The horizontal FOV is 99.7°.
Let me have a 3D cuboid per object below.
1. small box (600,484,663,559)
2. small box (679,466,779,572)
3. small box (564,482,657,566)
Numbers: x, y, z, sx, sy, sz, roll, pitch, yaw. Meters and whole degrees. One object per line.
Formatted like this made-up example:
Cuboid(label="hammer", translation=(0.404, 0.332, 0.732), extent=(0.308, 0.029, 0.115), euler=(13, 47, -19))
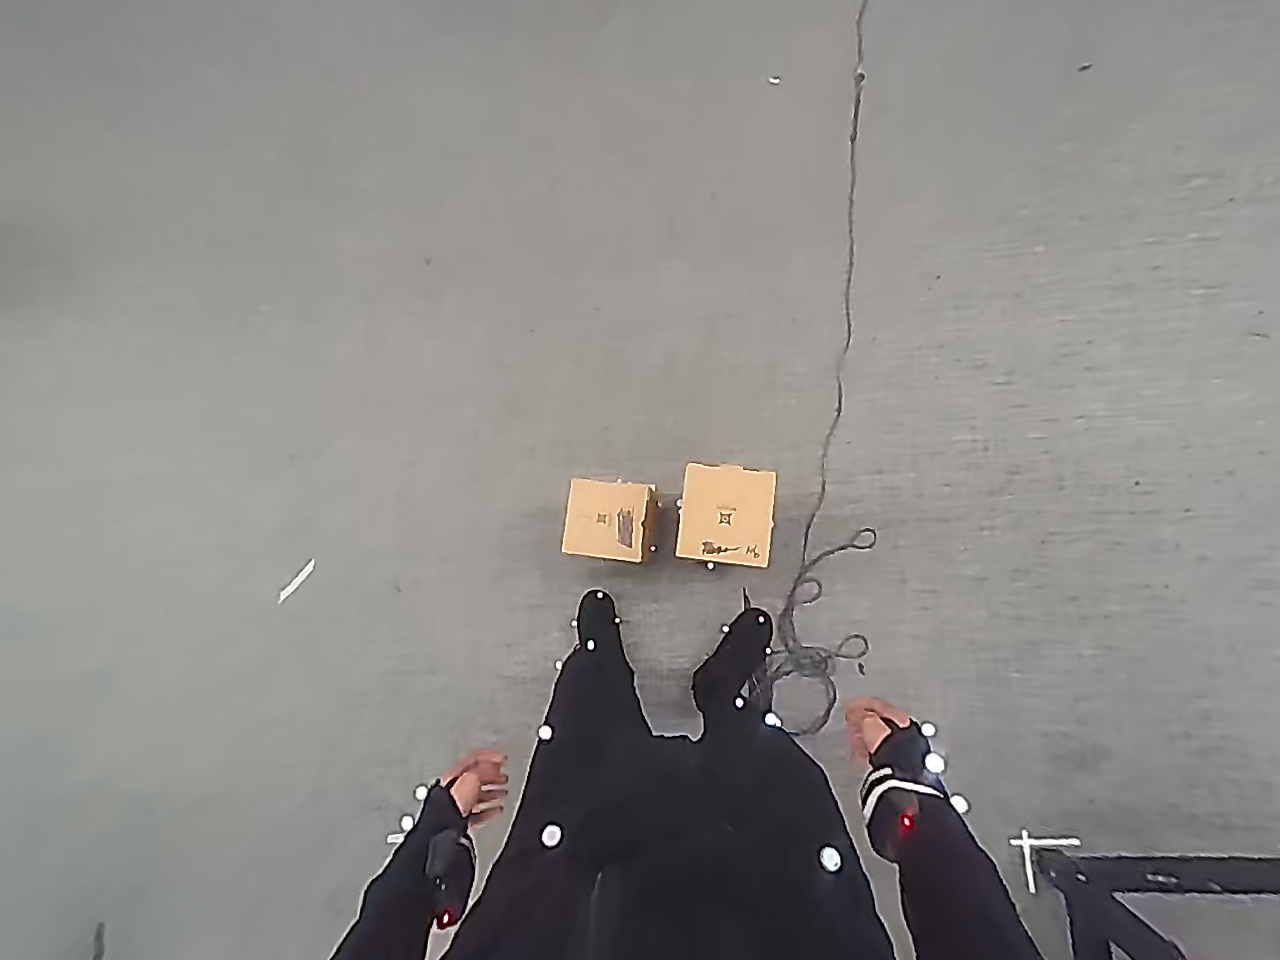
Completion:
Cuboid(label="small box", translation=(-0.032, 0.111, 1.404), extent=(0.168, 0.176, 0.179), euler=(2, 82, 8))
Cuboid(label="small box", translation=(0.169, 0.081, 1.054), extent=(0.168, 0.176, 0.179), euler=(7, 82, 8))
Cuboid(label="small box", translation=(-0.059, 0.103, 1.242), extent=(0.179, 0.176, 0.168), euler=(6, 83, 8))
